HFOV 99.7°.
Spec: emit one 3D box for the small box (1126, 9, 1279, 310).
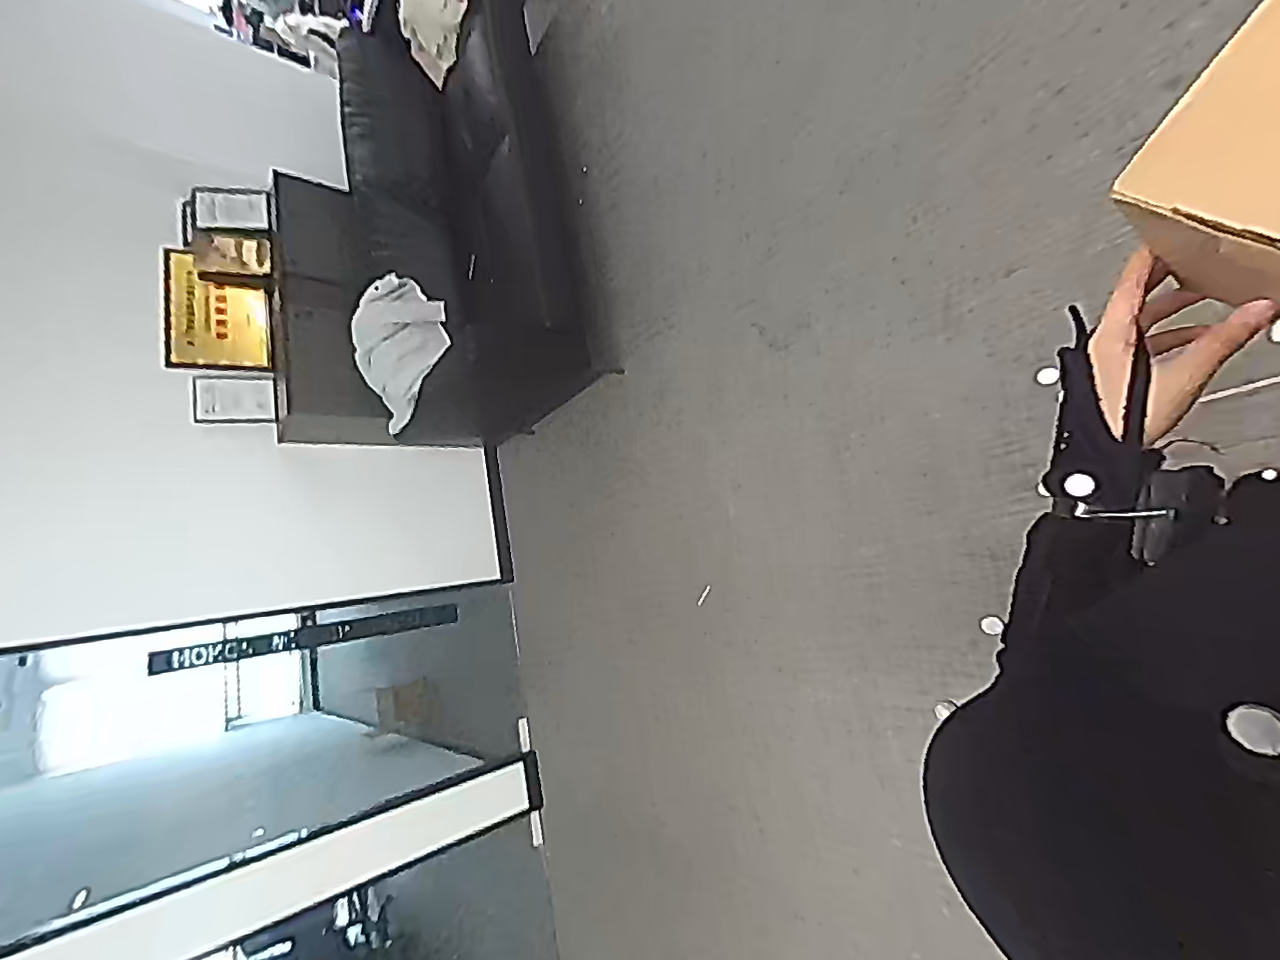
[{"bbox_3d":[0.385,-0.154,0.233,0.168,0.176,0.179,57,131,40],"label":"small box"}]
